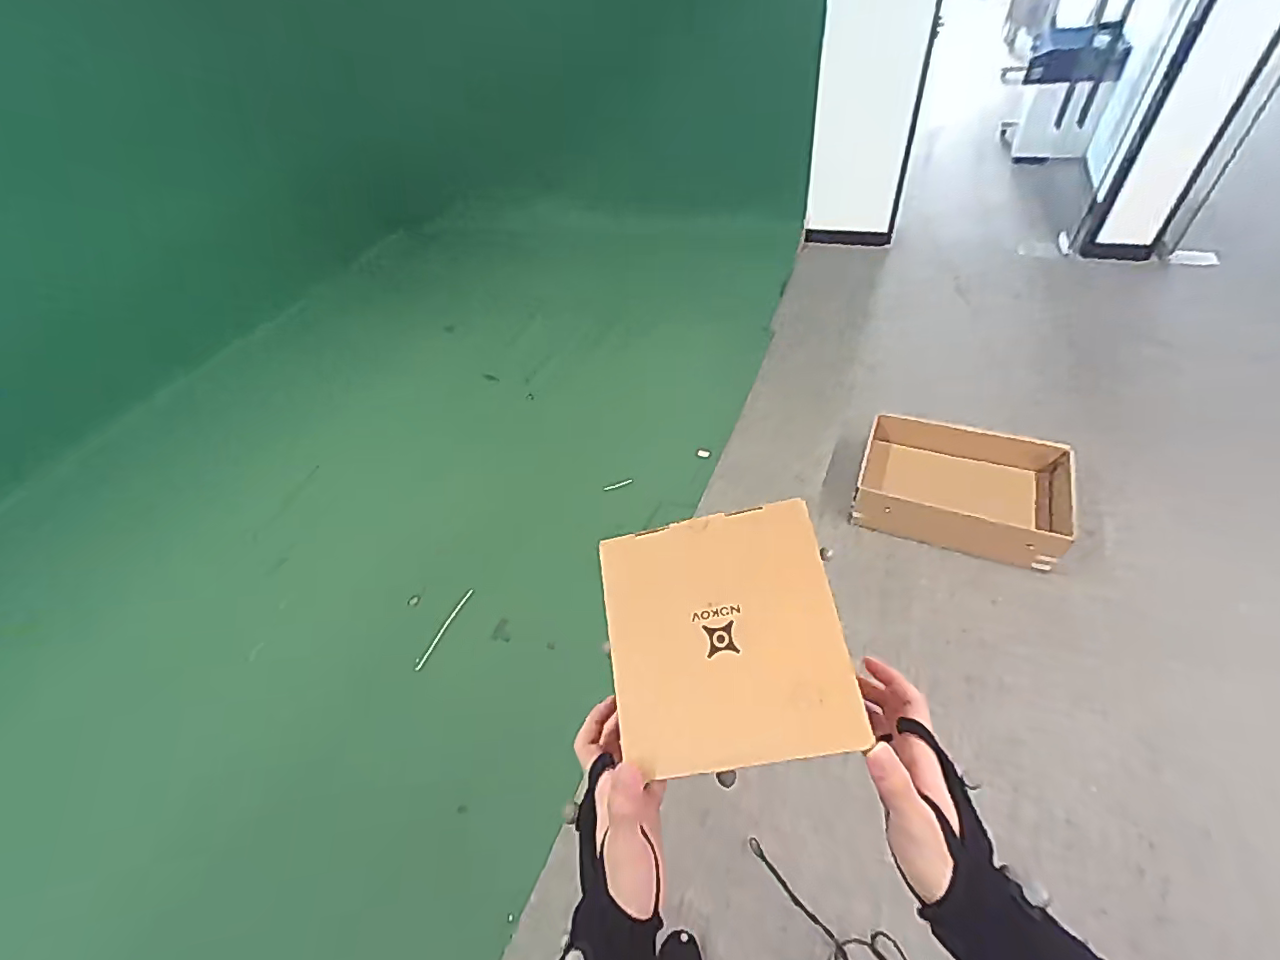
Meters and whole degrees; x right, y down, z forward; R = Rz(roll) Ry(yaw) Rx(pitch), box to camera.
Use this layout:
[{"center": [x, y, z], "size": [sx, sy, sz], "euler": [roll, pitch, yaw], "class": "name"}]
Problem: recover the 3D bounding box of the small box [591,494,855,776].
[{"center": [0.069, 0.136, 0.458], "size": [0.168, 0.176, 0.179], "euler": [-14, 62, 9], "class": "small box"}]
